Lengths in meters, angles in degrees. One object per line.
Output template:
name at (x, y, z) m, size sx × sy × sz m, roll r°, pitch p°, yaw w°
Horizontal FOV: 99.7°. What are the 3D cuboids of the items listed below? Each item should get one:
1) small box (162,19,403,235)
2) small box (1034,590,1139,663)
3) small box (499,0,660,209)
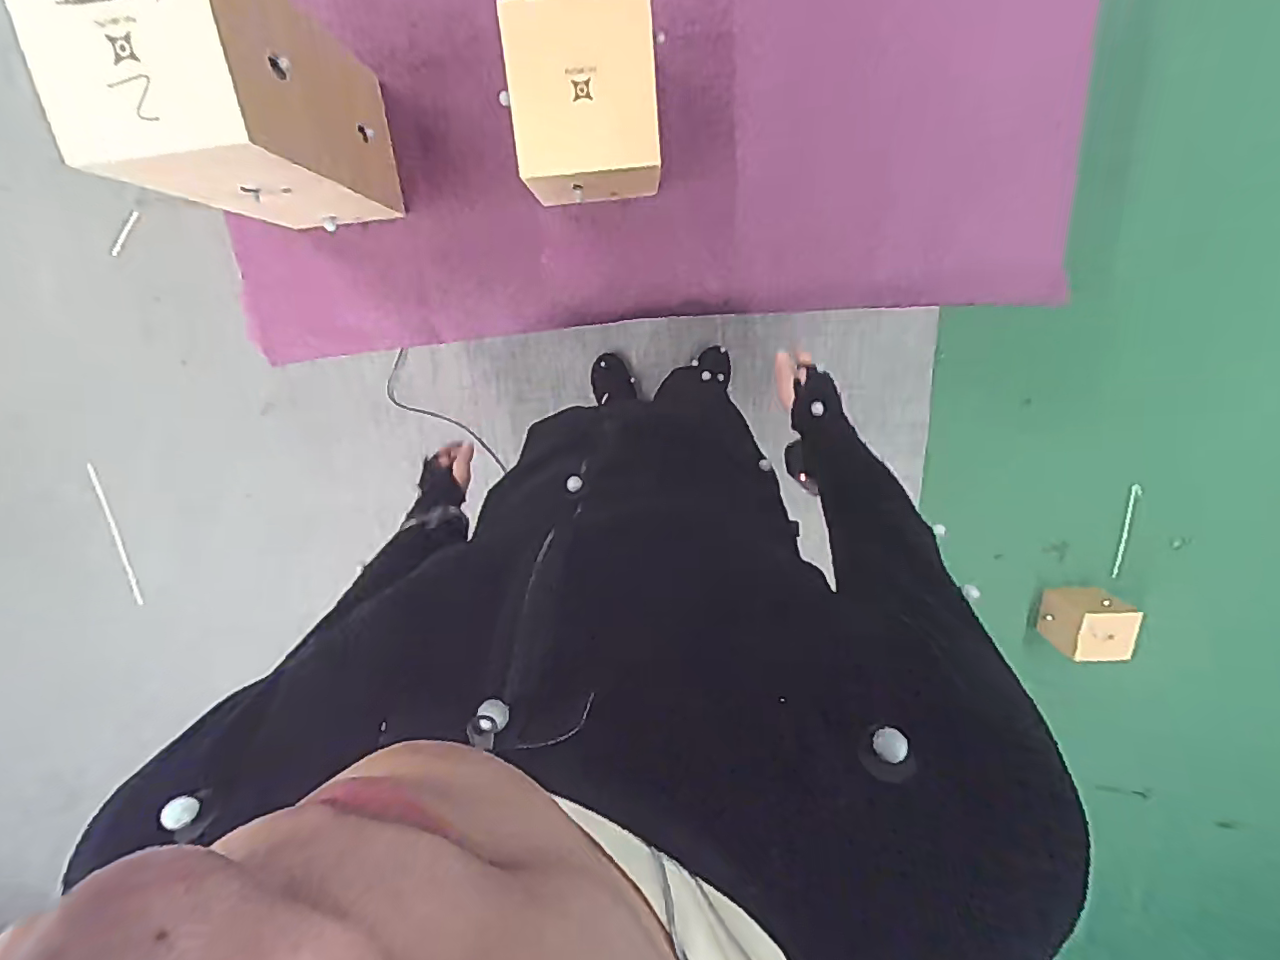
small box at (-0.422, -0.420, 0.673) m, size 0.168 × 0.176 × 0.179 m, roll -6°, pitch 106°, yaw 1°
small box at (1.396, 0.456, 1.701) m, size 0.179 × 0.176 × 0.168 m, roll -2°, pitch 105°, yaw 0°
small box at (-0.063, -0.451, 0.675) m, size 0.168 × 0.176 × 0.179 m, roll -6°, pitch 105°, yaw 1°
